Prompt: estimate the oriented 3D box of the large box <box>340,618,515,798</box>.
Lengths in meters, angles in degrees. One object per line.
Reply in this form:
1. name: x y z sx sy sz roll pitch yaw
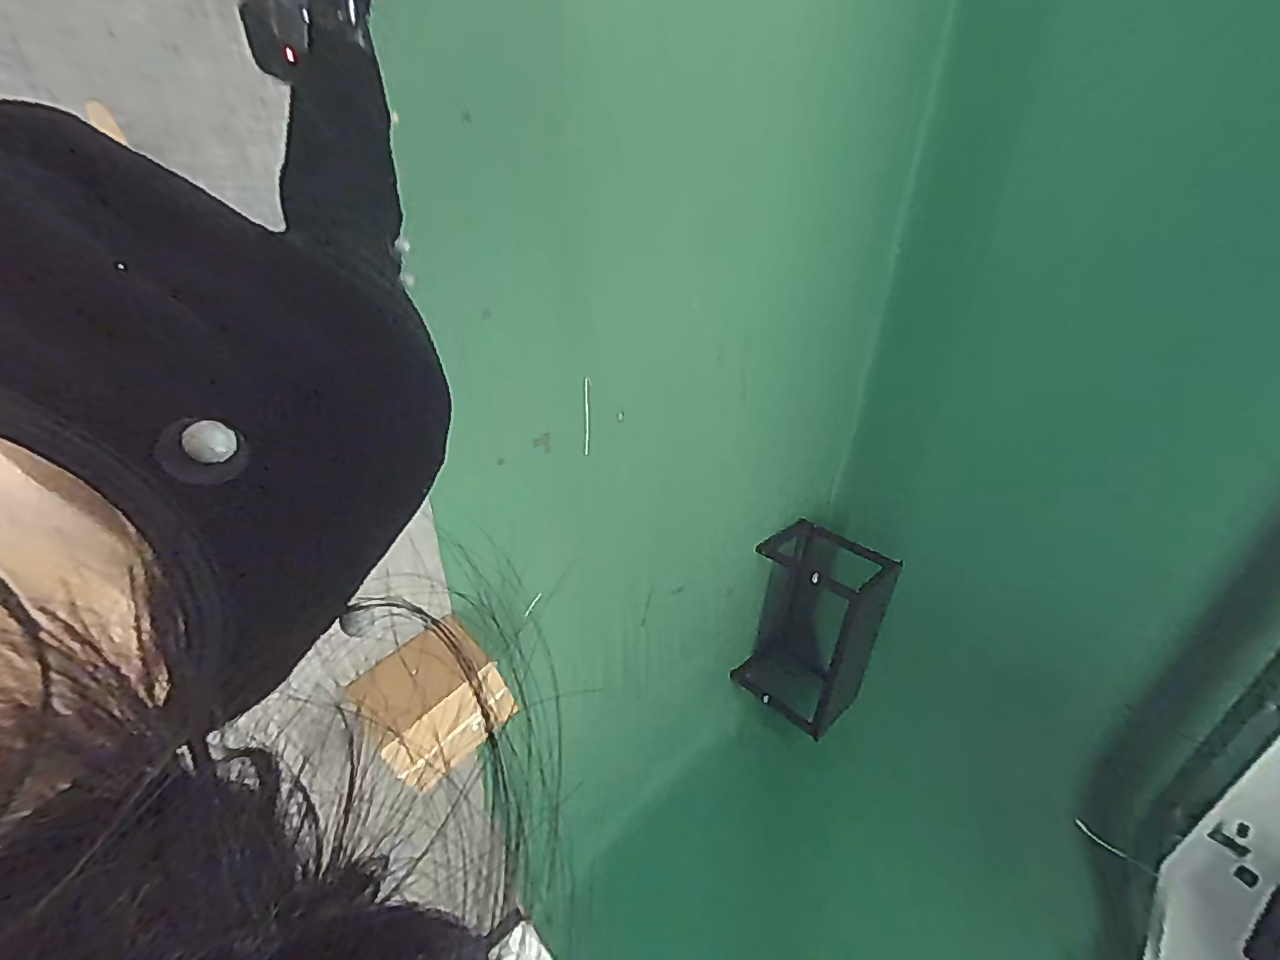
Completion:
1. large box: -0.716 0.765 1.853 0.408 0.320 0.320 -37 136 -30
